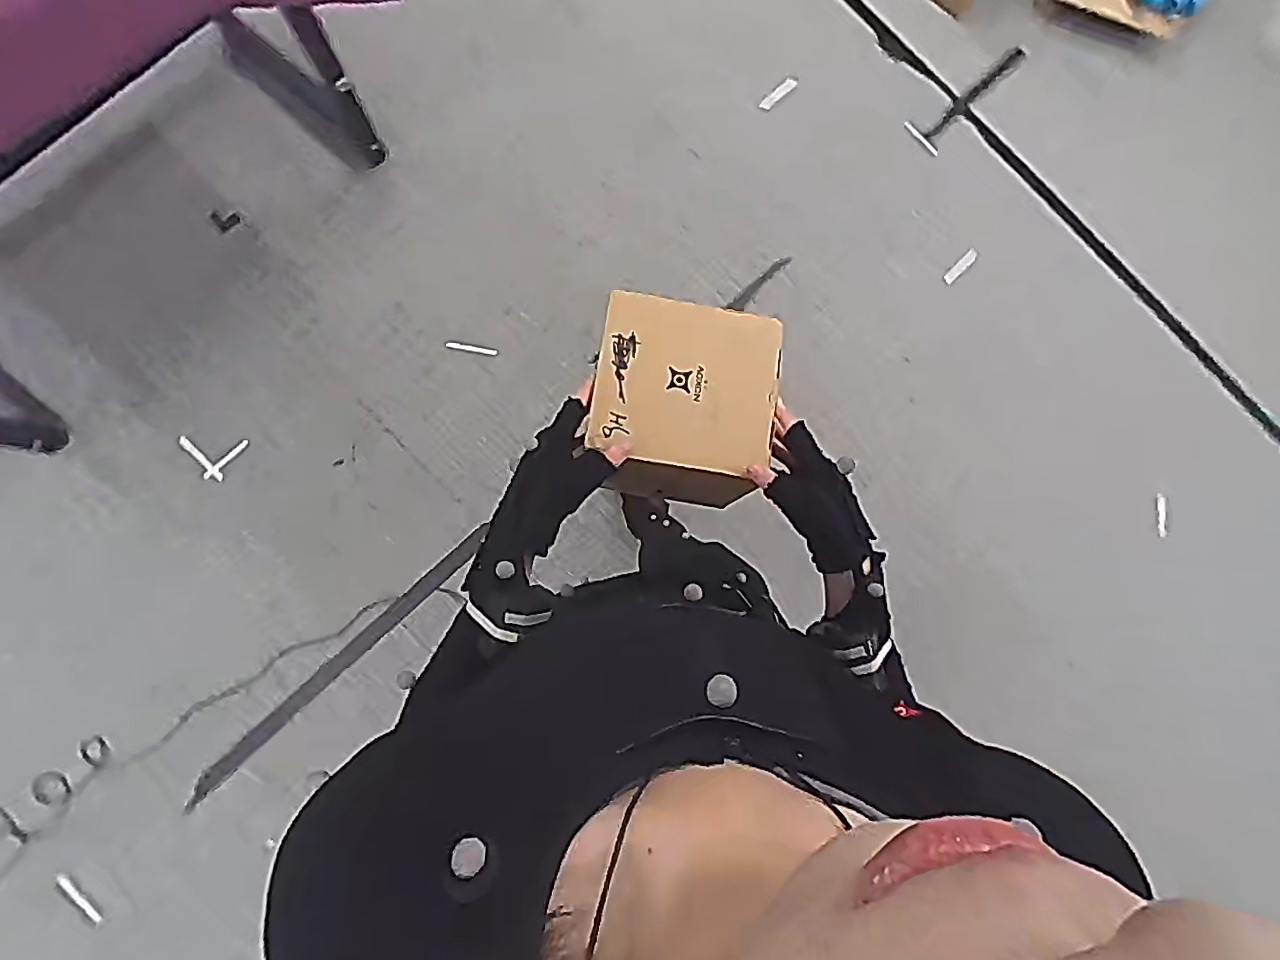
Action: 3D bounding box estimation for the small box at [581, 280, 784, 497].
[{"bbox_3d":[0.036,-0.083,0.581,0.179,0.176,0.168,9,77,-5],"label":"small box"}]
